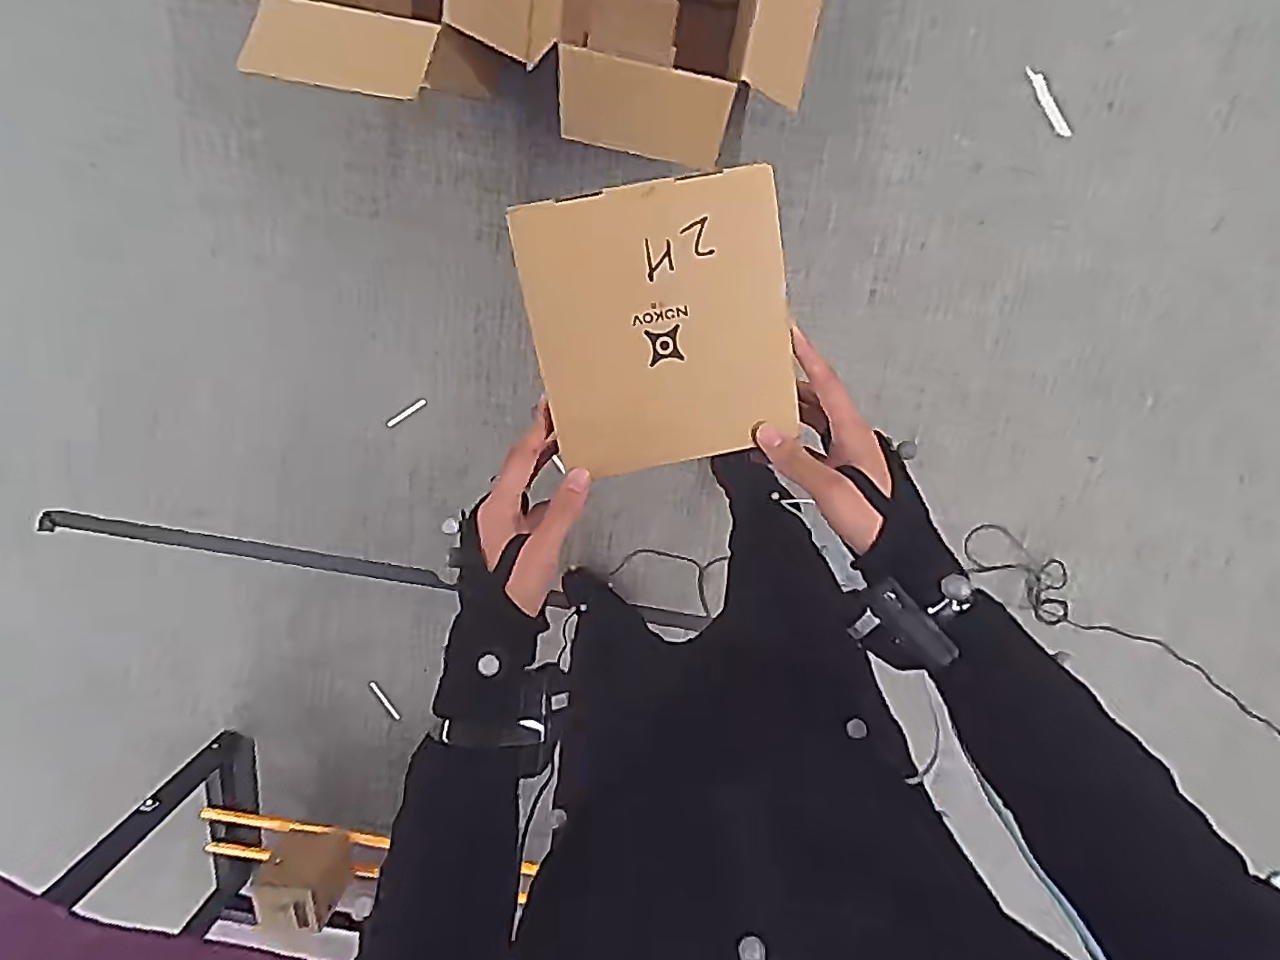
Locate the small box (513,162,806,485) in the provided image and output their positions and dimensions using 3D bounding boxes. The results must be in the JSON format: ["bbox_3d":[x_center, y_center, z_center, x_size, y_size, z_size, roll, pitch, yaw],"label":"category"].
[{"bbox_3d":[0.012,-0.113,0.414,0.168,0.176,0.179,-11,105,-3],"label":"small box"}]
